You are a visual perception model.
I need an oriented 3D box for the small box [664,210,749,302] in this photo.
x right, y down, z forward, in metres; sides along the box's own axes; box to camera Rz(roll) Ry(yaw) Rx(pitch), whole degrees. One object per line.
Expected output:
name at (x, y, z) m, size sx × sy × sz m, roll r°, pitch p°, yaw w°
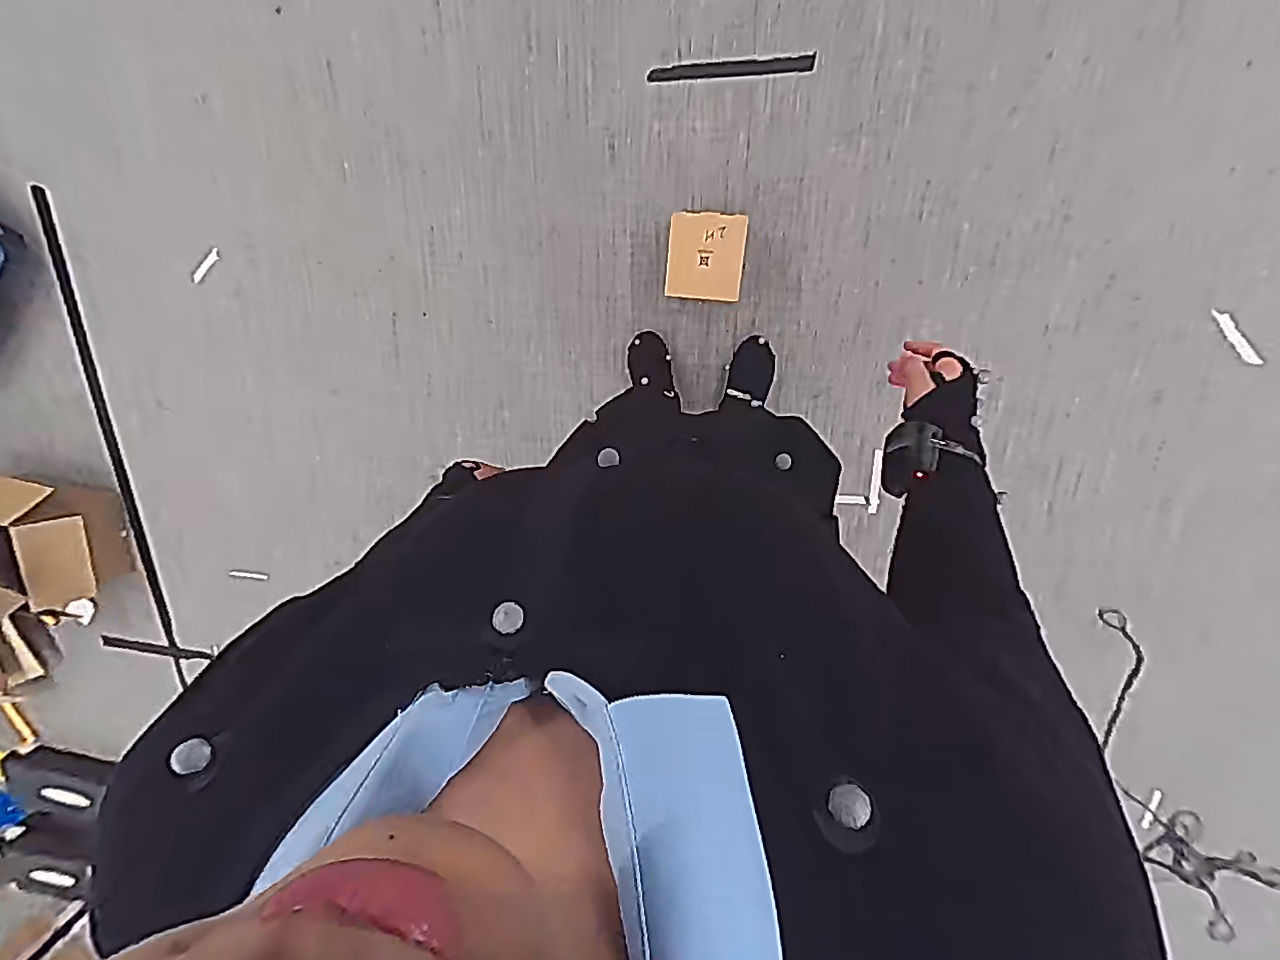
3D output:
small box at (0.155, -0.507, 1.240) m, size 0.168 × 0.176 × 0.179 m, roll 8°, pitch 109°, yaw 7°
